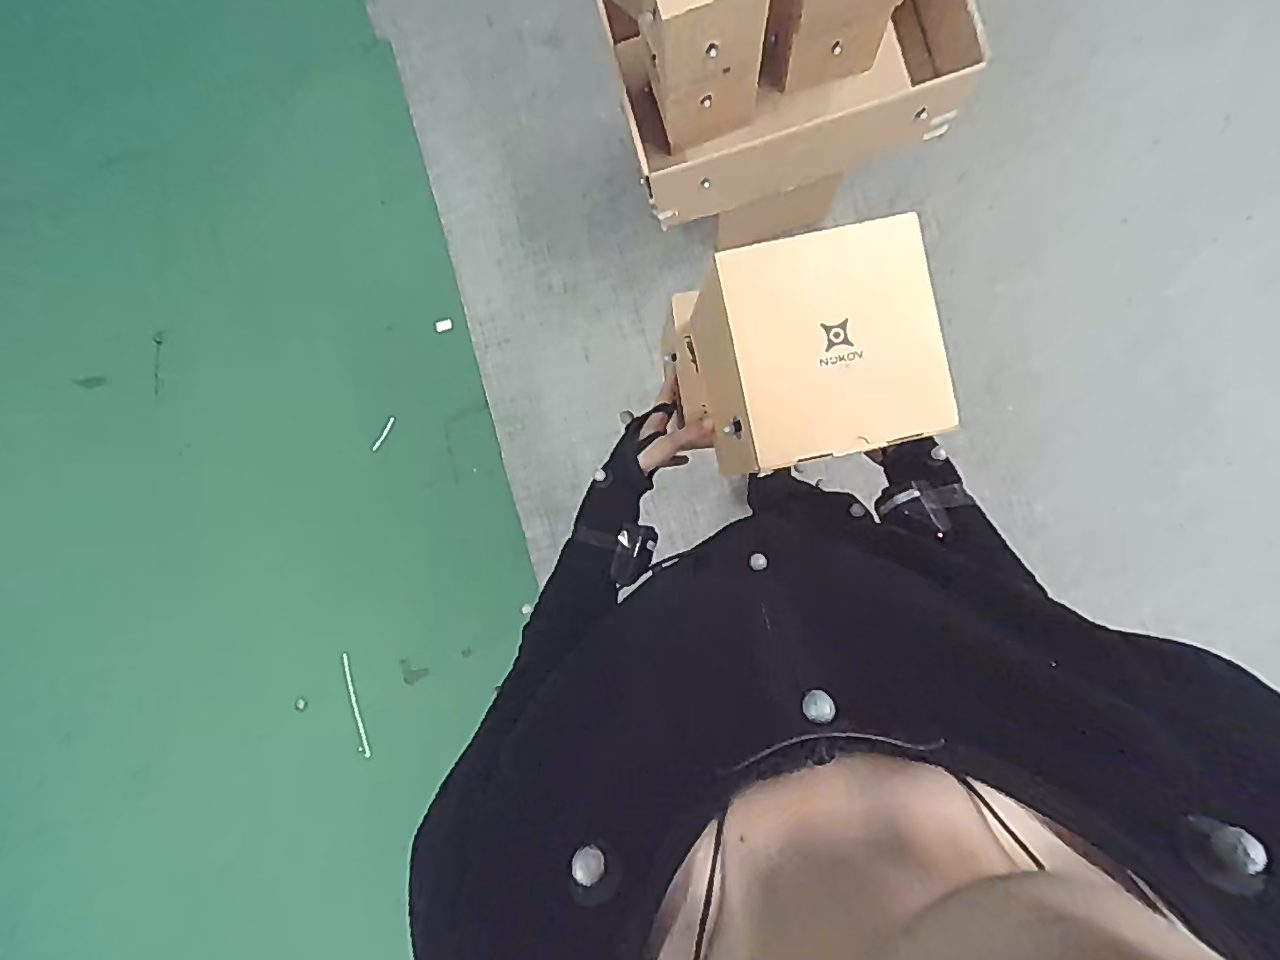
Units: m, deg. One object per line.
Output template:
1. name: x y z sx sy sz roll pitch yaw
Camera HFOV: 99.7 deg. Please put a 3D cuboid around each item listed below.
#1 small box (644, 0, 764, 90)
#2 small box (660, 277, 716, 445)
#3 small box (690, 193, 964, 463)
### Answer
1. small box: 0.097 -0.770 0.862 0.168 0.176 0.179 -15 86 7
2. small box: 0.124 -0.137 0.650 0.179 0.176 0.168 -7 89 -2
3. small box: 0.147 -0.117 0.487 0.168 0.176 0.179 -12 90 -1
